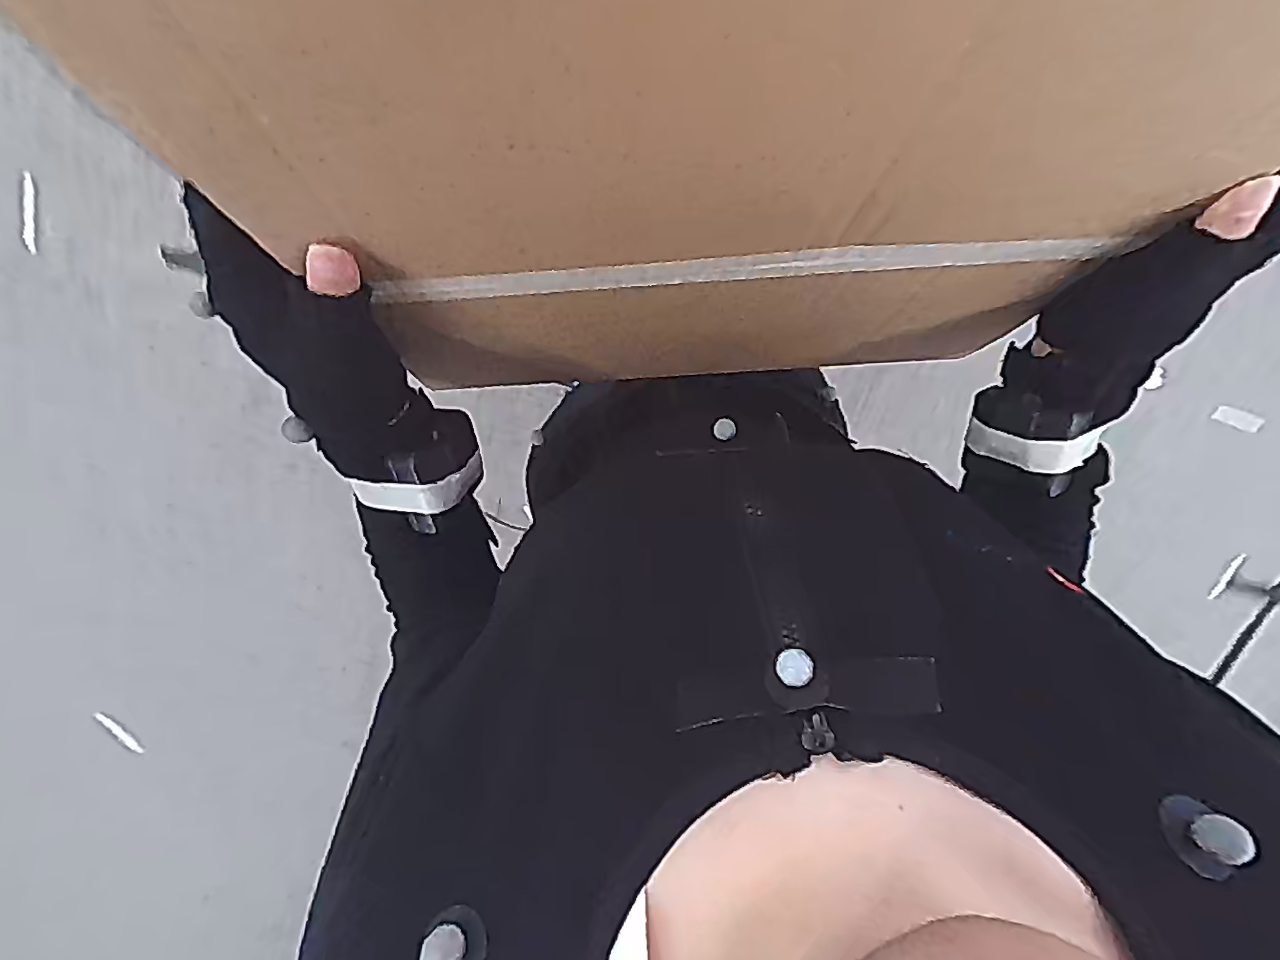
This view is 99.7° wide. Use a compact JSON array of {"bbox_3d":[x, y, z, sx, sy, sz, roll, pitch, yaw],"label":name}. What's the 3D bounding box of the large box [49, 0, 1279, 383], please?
[{"bbox_3d":[0.034,-0.261,0.285,0.408,0.320,0.320,-5,82,-3],"label":"large box"}]
